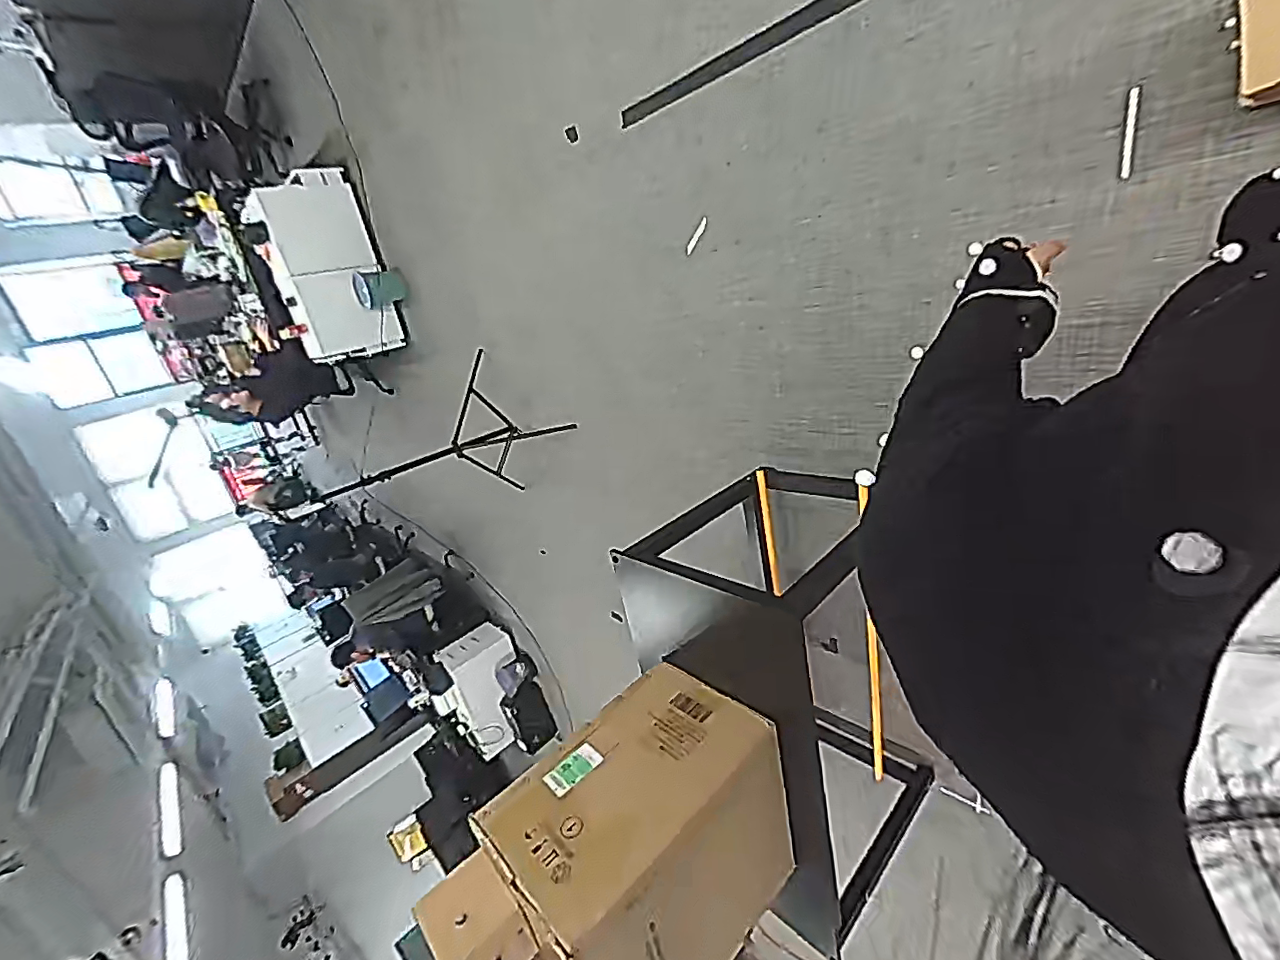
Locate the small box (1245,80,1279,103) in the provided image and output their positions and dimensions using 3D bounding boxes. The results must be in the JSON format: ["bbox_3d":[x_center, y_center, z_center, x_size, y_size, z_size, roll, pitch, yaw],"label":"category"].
[{"bbox_3d":[0.996,-0.664,0.768,0.168,0.176,0.179,8,119,50],"label":"small box"}]

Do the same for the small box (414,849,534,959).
[{"bbox_3d":[-0.336,0.929,1.126,0.179,0.176,0.168,17,125,47],"label":"small box"}]

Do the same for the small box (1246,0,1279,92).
[{"bbox_3d":[0.876,-0.613,0.666,0.168,0.176,0.179,1,113,52],"label":"small box"}]
